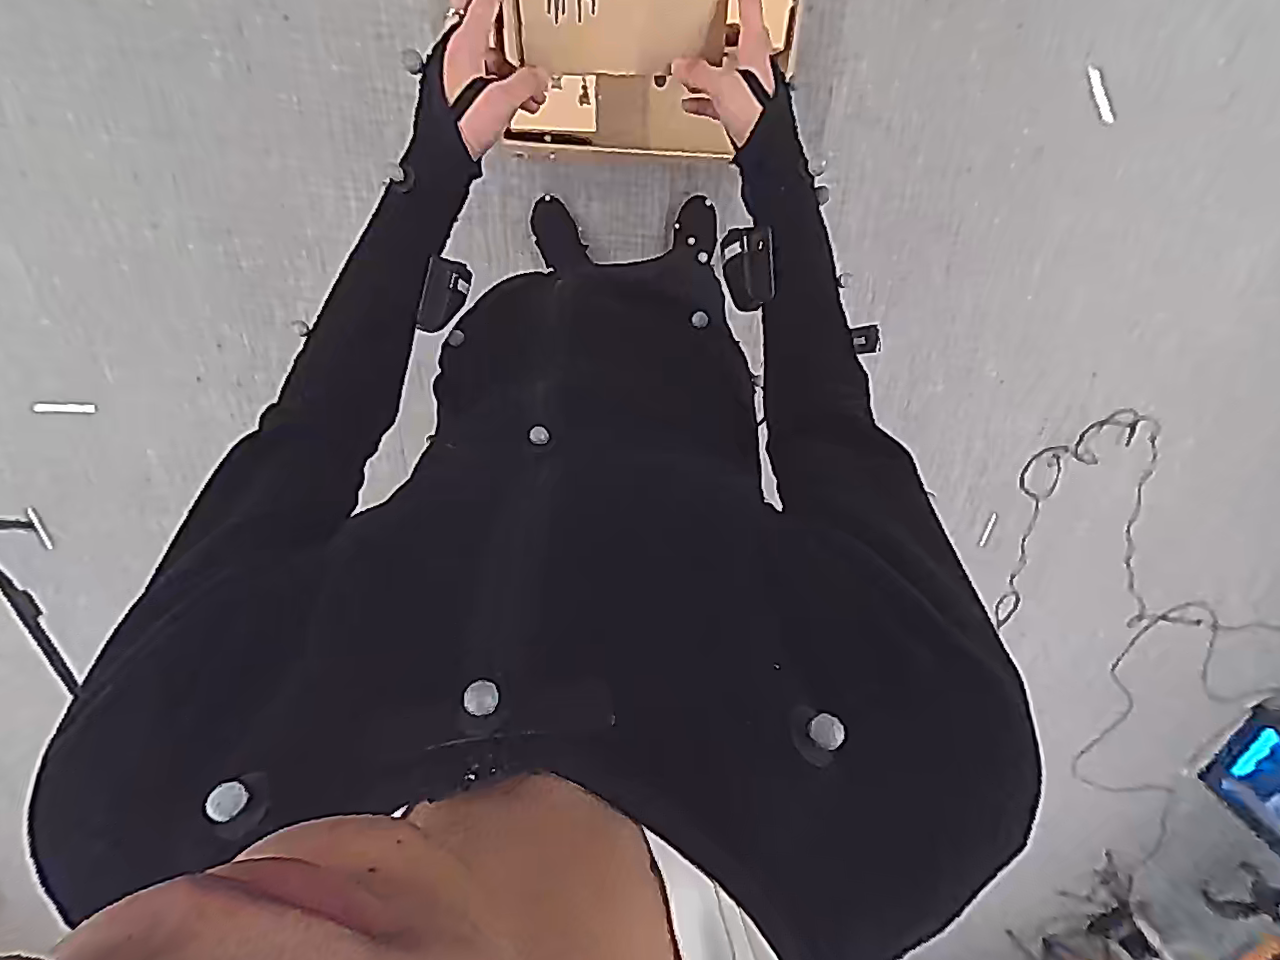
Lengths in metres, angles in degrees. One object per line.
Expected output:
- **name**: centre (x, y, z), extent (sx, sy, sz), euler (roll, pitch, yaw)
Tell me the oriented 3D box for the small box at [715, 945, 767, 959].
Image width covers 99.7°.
- **small box**: centre (0.343, 1.684, 1.799), extent (0.168, 0.176, 0.179), euler (0, 119, -6)
